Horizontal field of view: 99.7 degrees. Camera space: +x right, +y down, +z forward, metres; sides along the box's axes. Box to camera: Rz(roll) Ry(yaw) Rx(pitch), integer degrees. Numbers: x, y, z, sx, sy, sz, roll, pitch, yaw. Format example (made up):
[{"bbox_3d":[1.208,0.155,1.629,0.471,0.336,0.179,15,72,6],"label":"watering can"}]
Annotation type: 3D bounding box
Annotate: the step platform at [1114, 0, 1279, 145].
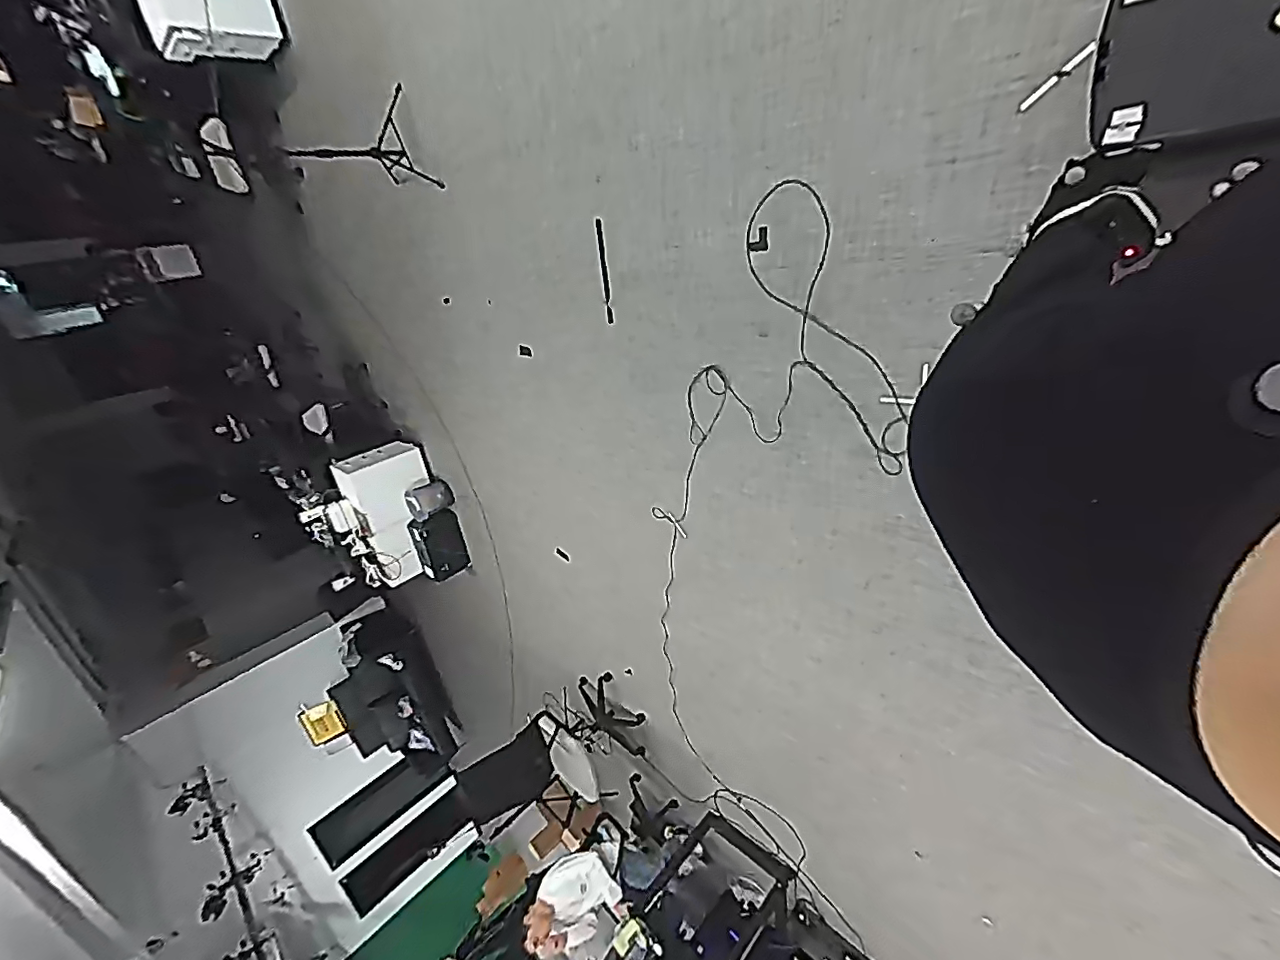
[{"bbox_3d":[1.104,-0.693,0.740,0.684,0.204,0.286,14,123,42],"label":"step platform"}]
